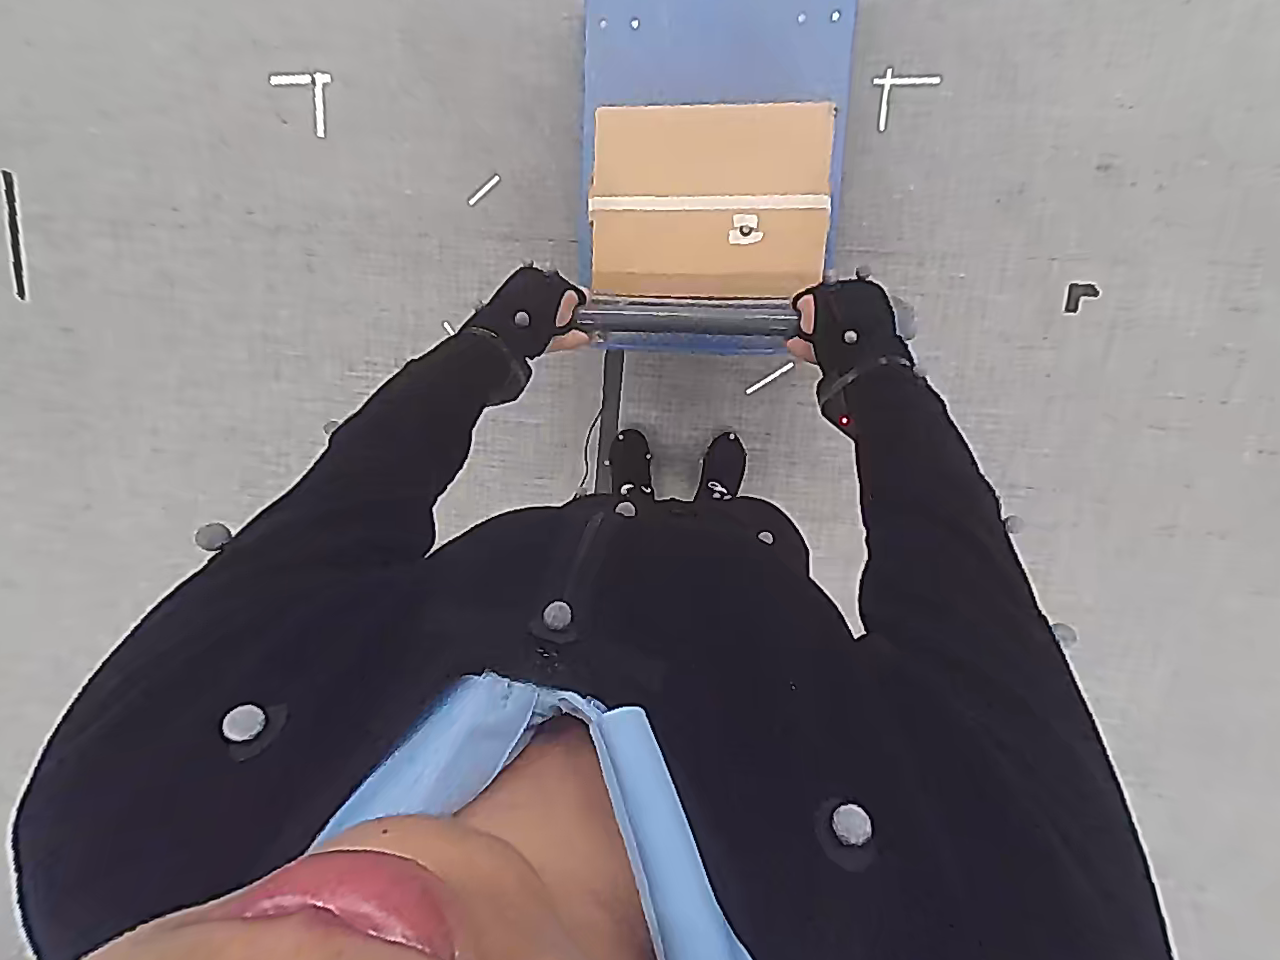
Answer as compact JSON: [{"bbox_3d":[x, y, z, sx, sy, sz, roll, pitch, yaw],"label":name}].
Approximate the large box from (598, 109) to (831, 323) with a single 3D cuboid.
[{"bbox_3d":[0.136,-0.499,1.095,0.408,0.320,0.320,2,100,5],"label":"large box"}]
